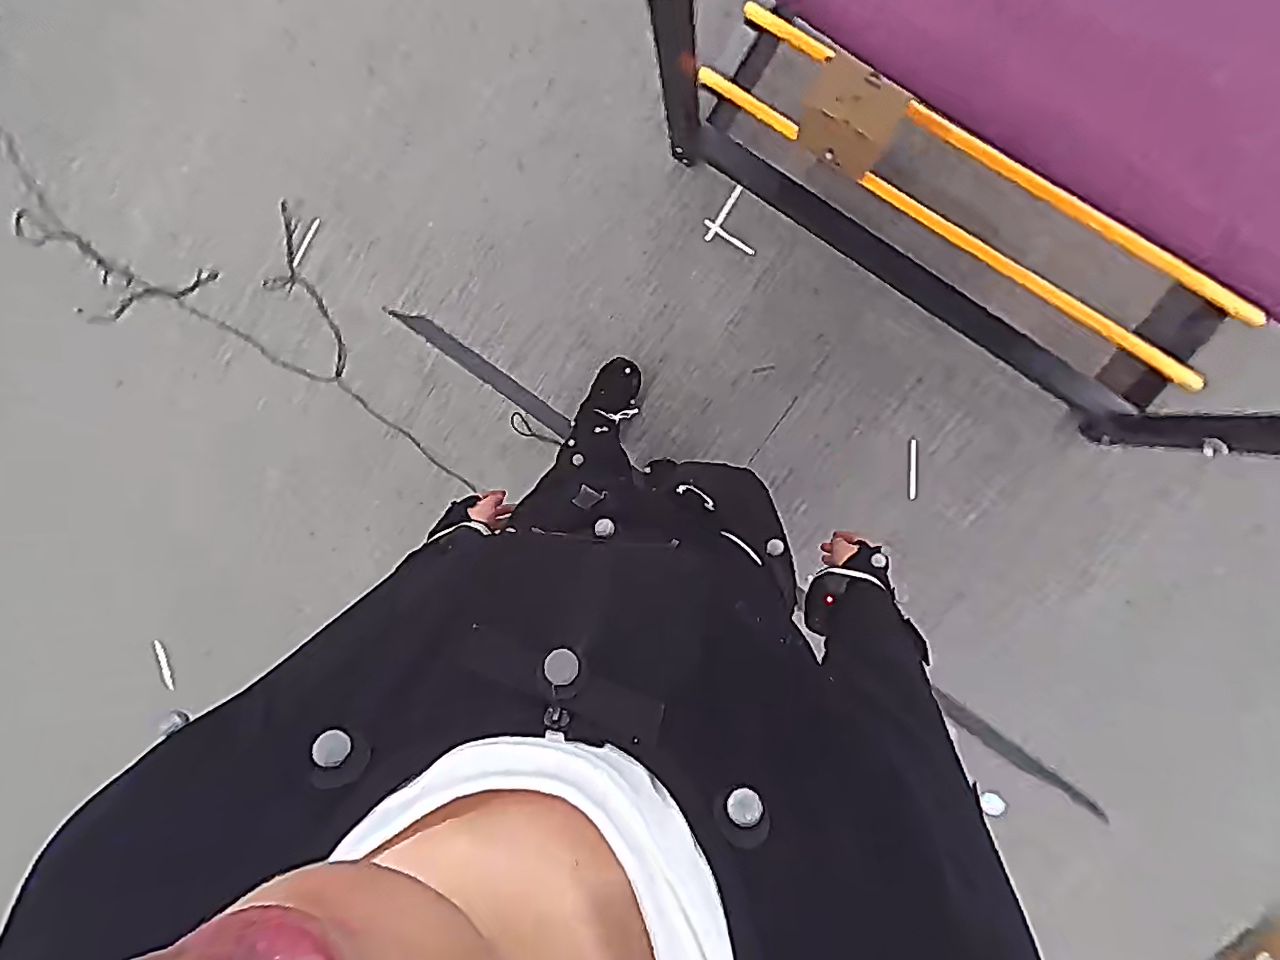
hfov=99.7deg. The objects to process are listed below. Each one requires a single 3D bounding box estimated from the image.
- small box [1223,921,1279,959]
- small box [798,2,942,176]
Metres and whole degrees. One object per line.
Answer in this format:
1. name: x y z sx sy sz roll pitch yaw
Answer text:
1. small box: 1.540 1.181 1.241 0.179 0.176 0.168 37 101 2
2. small box: 0.418 -0.724 1.023 0.168 0.176 0.179 32 102 2
